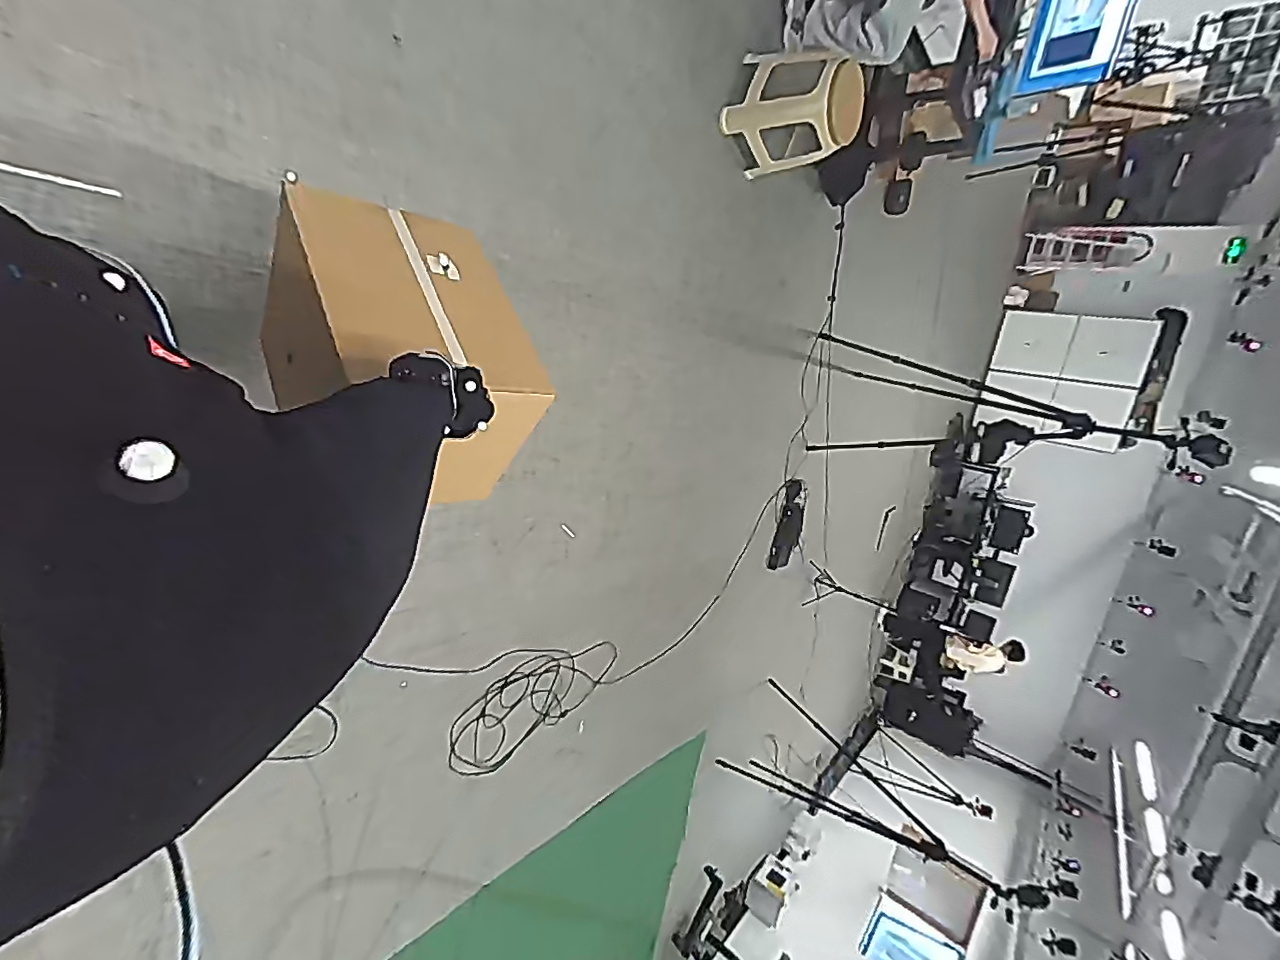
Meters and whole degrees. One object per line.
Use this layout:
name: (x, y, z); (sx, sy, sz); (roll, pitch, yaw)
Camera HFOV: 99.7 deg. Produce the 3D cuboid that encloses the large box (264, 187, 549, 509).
large box: (-0.422, -0.208, 0.940); (0.320, 0.408, 0.320); (-5, 149, -45)
